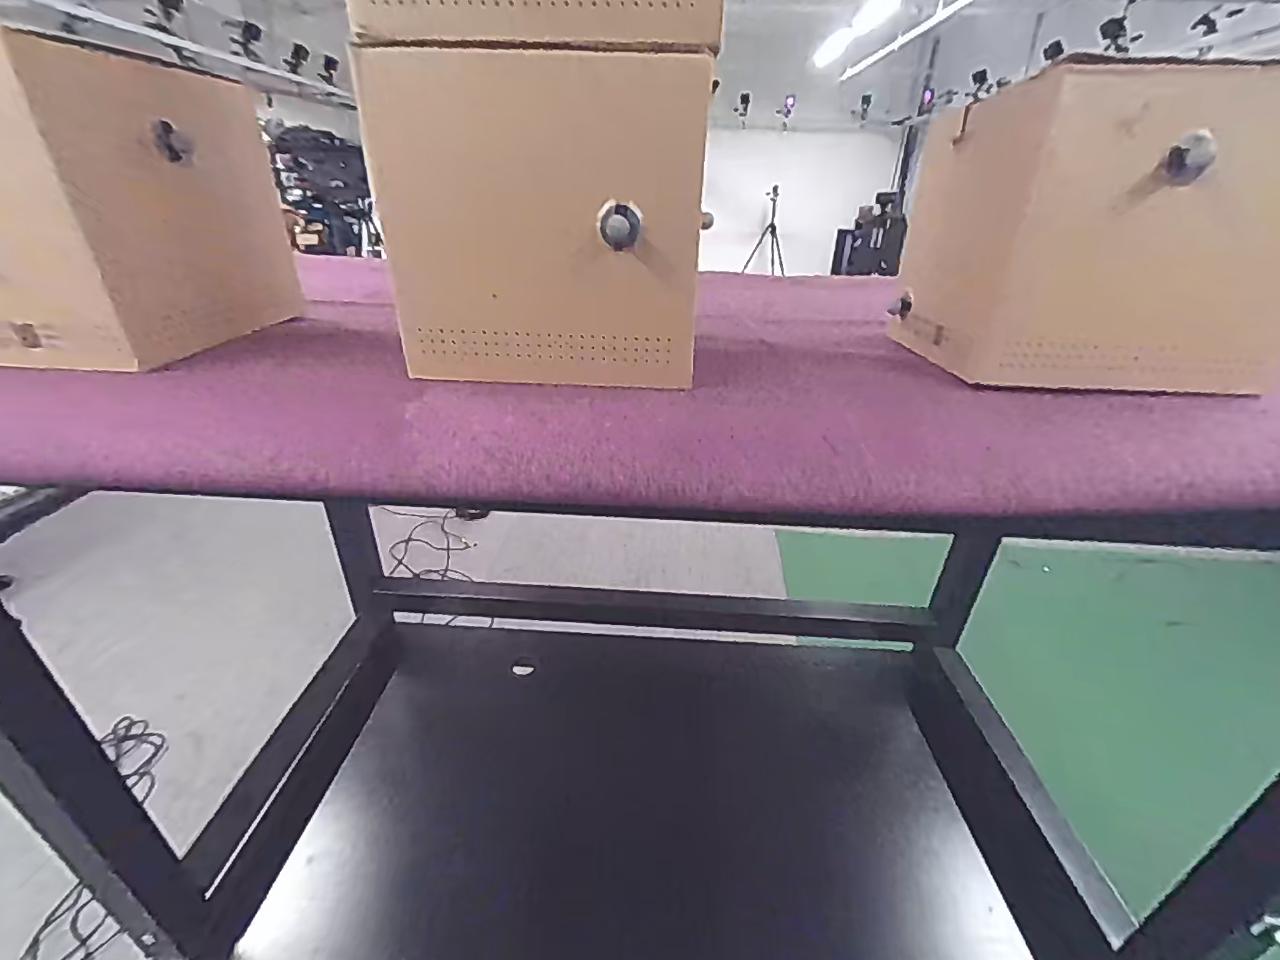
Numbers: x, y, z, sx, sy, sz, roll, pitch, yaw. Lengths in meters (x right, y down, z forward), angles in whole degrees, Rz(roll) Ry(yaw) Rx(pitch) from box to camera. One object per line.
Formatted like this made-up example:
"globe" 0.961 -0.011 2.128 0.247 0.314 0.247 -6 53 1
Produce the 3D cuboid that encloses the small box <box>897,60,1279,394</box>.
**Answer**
"small box" 0.297 -0.162 0.371 0.179 0.176 0.168 3 26 3

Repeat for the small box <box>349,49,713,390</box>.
"small box" -0.051 -0.164 0.362 0.179 0.176 0.168 1 28 1

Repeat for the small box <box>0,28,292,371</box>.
"small box" -0.373 -0.178 0.361 0.168 0.176 0.179 3 29 0
